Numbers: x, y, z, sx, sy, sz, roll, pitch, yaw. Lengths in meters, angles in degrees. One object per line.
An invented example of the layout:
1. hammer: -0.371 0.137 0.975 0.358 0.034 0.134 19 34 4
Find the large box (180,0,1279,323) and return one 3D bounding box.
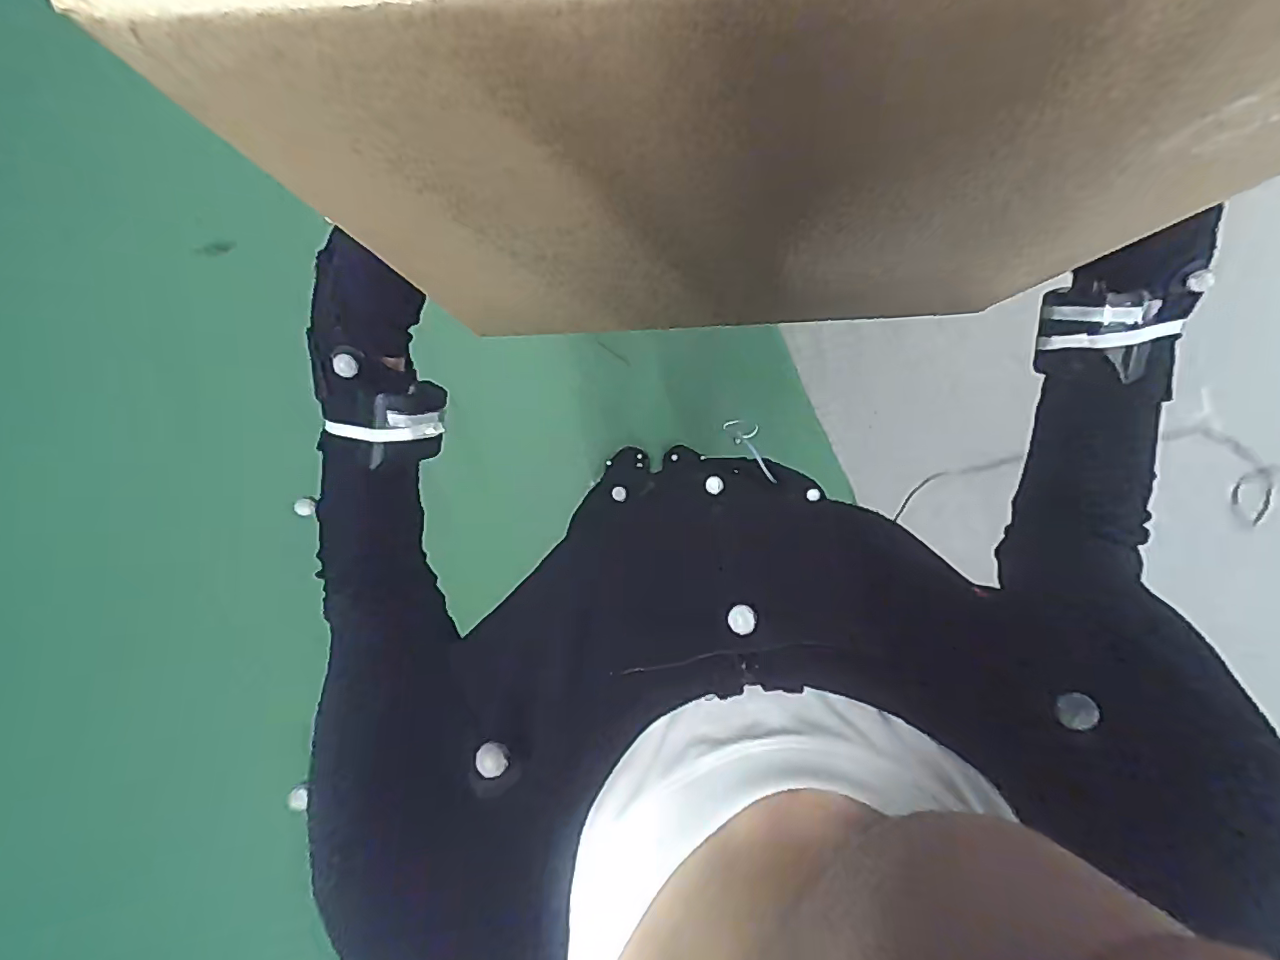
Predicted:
1. large box: 0.067 -0.279 0.277 0.408 0.320 0.320 -1 92 -1
